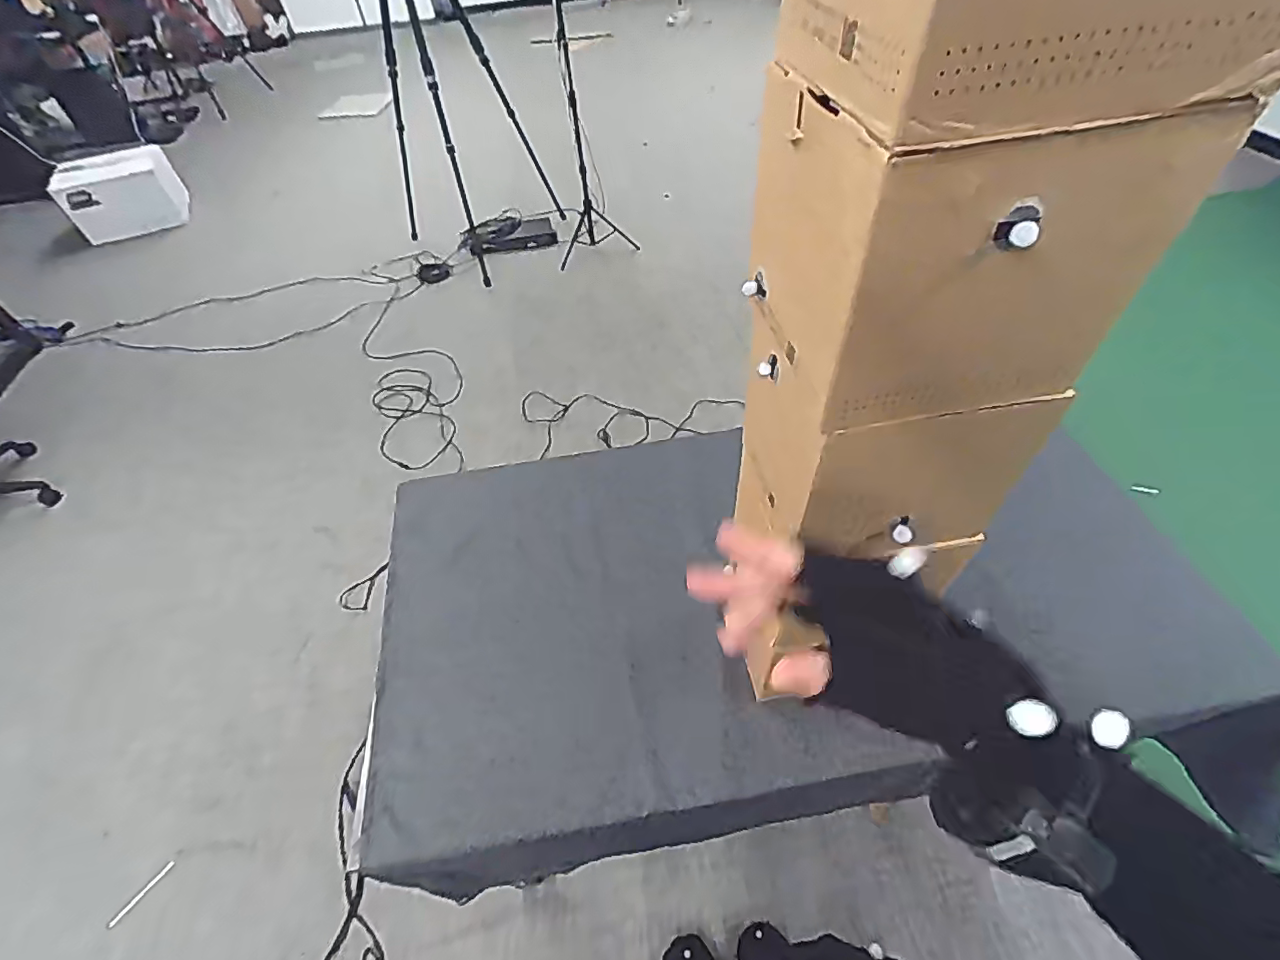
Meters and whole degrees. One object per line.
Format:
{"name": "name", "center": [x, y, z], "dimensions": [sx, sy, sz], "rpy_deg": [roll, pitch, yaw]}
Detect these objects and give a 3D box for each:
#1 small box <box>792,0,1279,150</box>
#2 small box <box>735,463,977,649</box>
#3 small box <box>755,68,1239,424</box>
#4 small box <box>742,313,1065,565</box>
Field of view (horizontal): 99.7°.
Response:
{"name": "small box", "center": [0.172, -0.260, 0.226], "dimensions": [0.179, 0.176, 0.168], "rpy_deg": [-8, 50, -1]}
{"name": "small box", "center": [0.213, 0.065, 0.593], "dimensions": [0.179, 0.176, 0.168], "rpy_deg": [-10, 49, -3]}
{"name": "small box", "center": [0.180, -0.154, 0.350], "dimensions": [0.179, 0.176, 0.168], "rpy_deg": [-9, 50, -3]}
{"name": "small box", "center": [0.198, -0.045, 0.473], "dimensions": [0.179, 0.176, 0.168], "rpy_deg": [-8, 49, -2]}
